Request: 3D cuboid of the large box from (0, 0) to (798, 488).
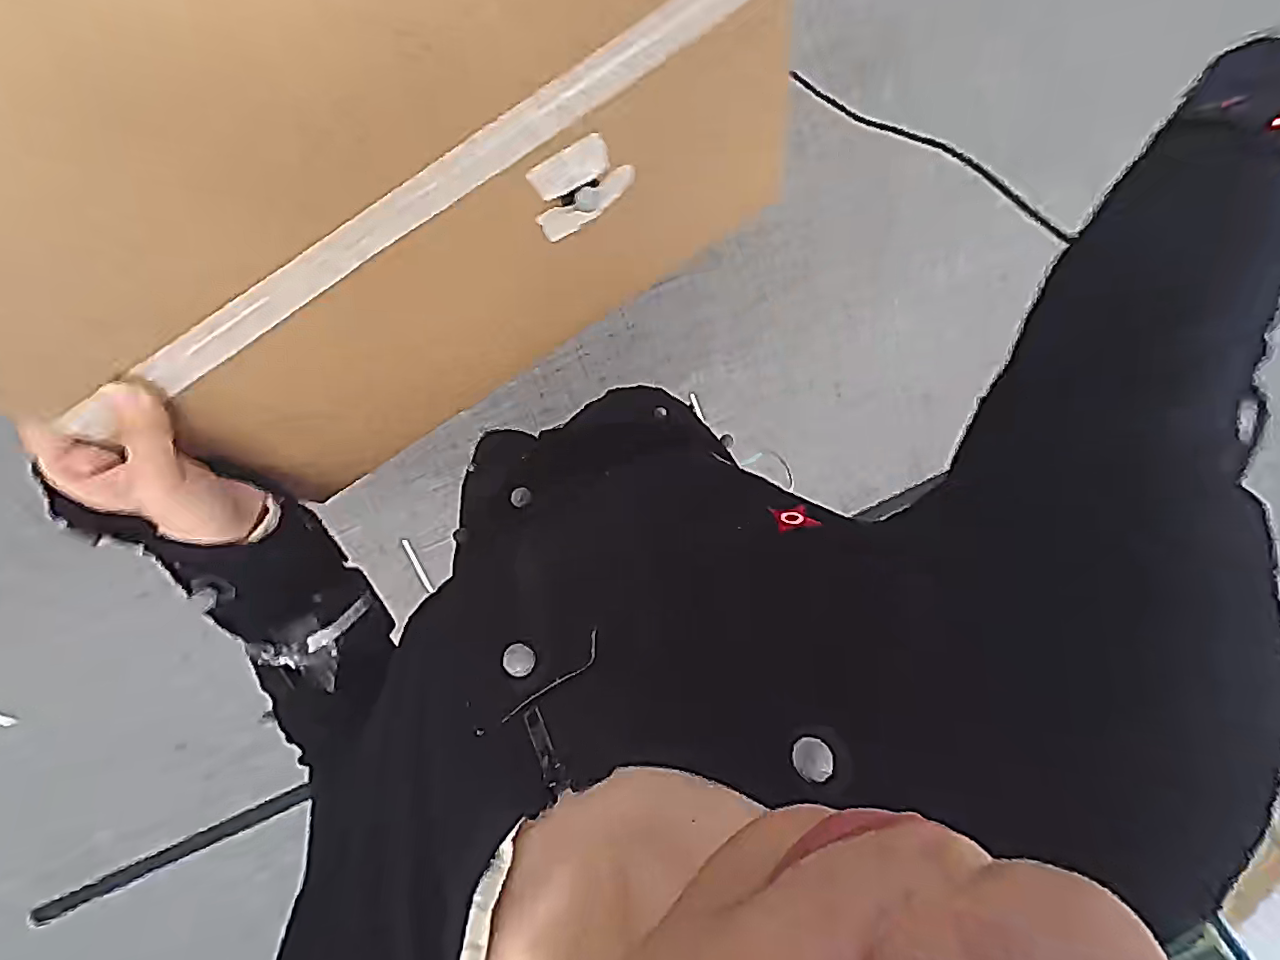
[{"bbox_3d":[-0.175,-0.263,0.283,0.408,0.320,0.320,-35,70,1],"label":"large box"}]
